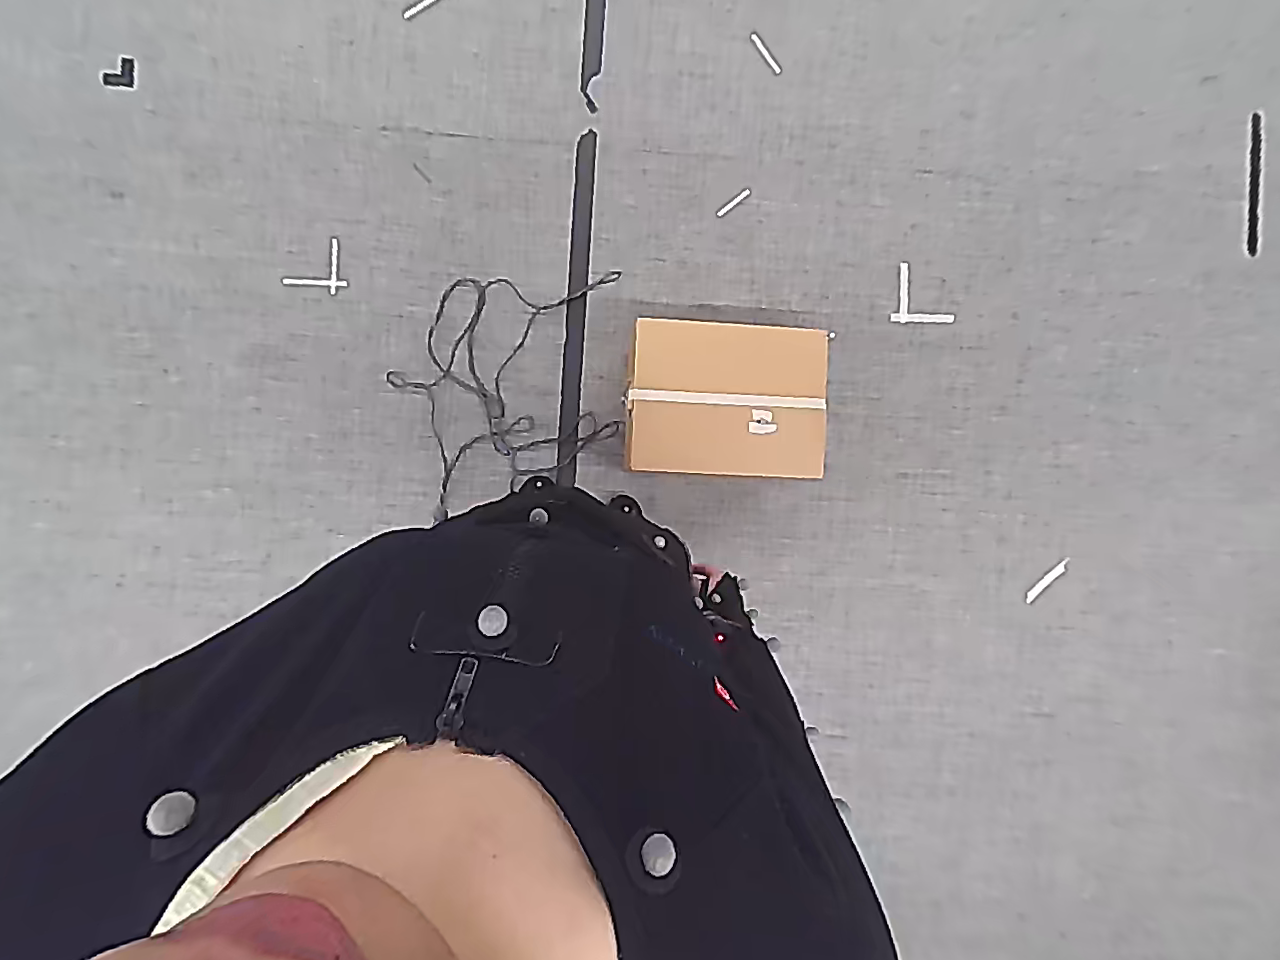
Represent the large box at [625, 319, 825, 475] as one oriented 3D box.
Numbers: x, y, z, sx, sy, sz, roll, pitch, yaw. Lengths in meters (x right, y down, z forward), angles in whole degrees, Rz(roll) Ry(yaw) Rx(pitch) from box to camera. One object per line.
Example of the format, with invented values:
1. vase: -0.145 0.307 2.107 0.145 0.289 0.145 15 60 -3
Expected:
1. large box: 0.172 -0.170 1.262 0.408 0.320 0.320 2 91 -5
